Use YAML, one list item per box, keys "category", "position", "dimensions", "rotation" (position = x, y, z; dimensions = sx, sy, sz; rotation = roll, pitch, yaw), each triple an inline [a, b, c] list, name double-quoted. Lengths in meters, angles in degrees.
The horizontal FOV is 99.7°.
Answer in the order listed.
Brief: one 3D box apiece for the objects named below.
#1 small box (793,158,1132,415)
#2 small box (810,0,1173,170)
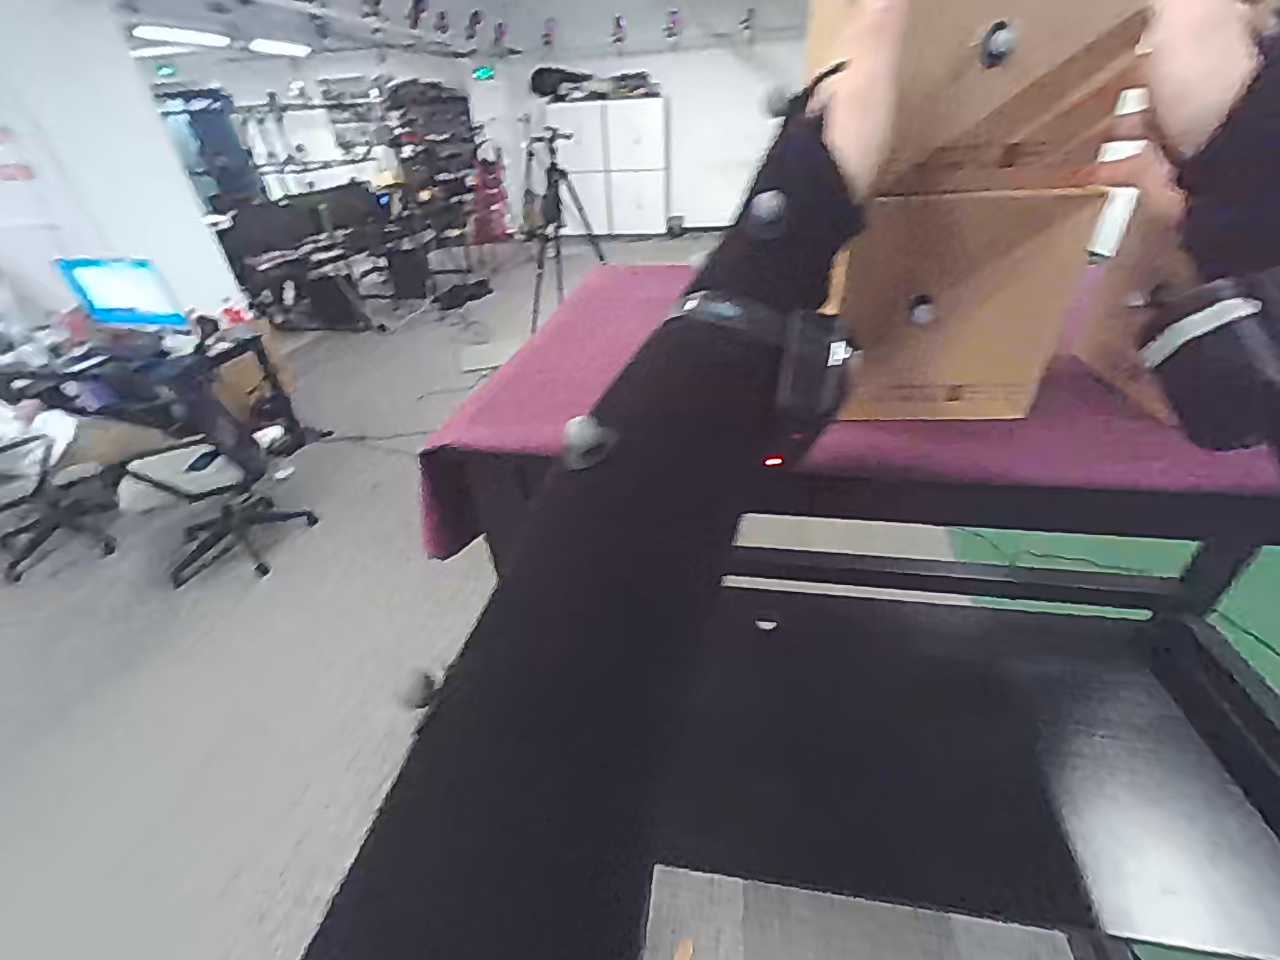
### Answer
- category: "small box"
  position: [0.229, -0.163, 0.445]
  dimensions: [0.168, 0.176, 0.179]
  rotation: [2, 34, 5]
- category: "small box"
  position: [0.223, -0.311, 0.368]
  dimensions: [0.168, 0.176, 0.179]
  rotation: [1, 33, 4]
